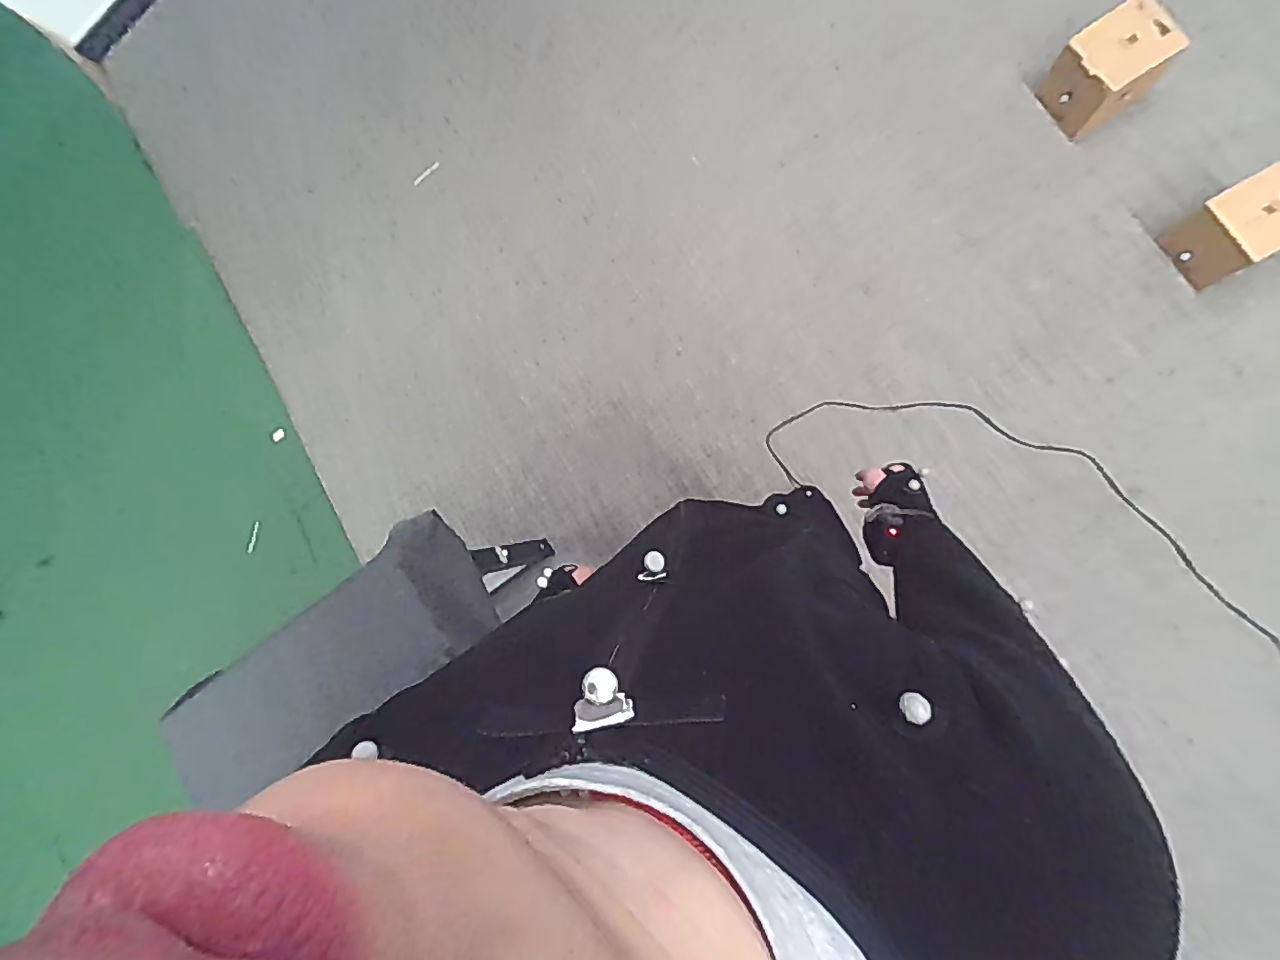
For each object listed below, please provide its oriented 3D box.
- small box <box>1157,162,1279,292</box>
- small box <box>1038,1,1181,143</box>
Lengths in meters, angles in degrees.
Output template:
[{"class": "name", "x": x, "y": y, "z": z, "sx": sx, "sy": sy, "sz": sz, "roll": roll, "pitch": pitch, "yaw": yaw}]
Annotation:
[{"class": "small box", "x": 1.339, "y": -0.558, "z": 1.209, "sx": 0.179, "sy": 0.176, "sz": 0.168, "roll": -31, "pitch": 79, "yaw": 12}, {"class": "small box", "x": 1.104, "y": -0.964, "z": 1.298, "sx": 0.179, "sy": 0.176, "sz": 0.168, "roll": -31, "pitch": 80, "yaw": 11}]
